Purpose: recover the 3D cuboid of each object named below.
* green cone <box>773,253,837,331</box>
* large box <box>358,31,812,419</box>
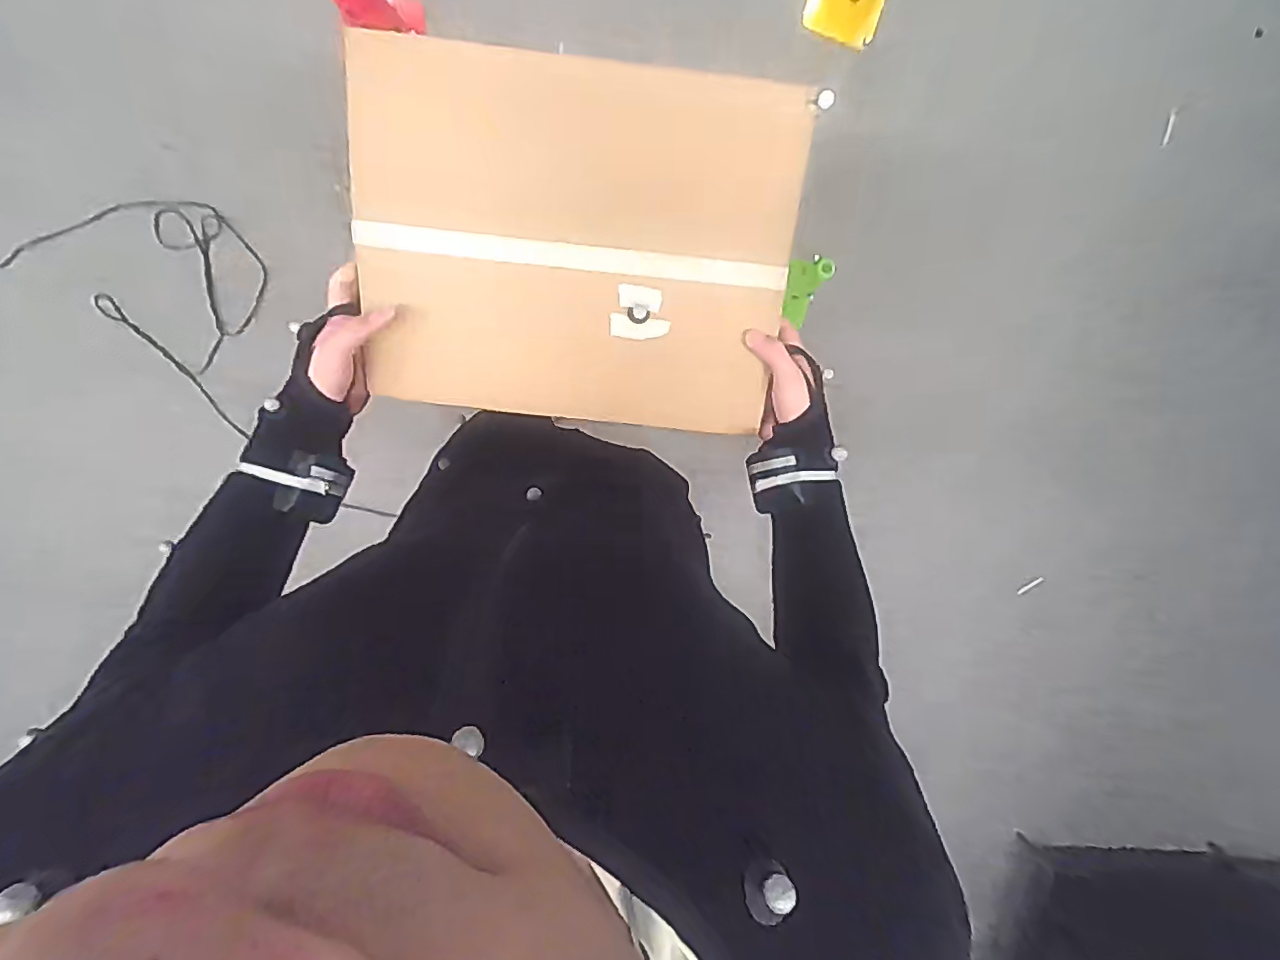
[{"bbox_3d":[0.411,-0.514,1.386,0.200,0.368,0.202,12,99,-7],"label":"green cone"},{"bbox_3d":[-0.062,-0.270,0.656,0.408,0.320,0.320,5,109,-3],"label":"large box"}]
